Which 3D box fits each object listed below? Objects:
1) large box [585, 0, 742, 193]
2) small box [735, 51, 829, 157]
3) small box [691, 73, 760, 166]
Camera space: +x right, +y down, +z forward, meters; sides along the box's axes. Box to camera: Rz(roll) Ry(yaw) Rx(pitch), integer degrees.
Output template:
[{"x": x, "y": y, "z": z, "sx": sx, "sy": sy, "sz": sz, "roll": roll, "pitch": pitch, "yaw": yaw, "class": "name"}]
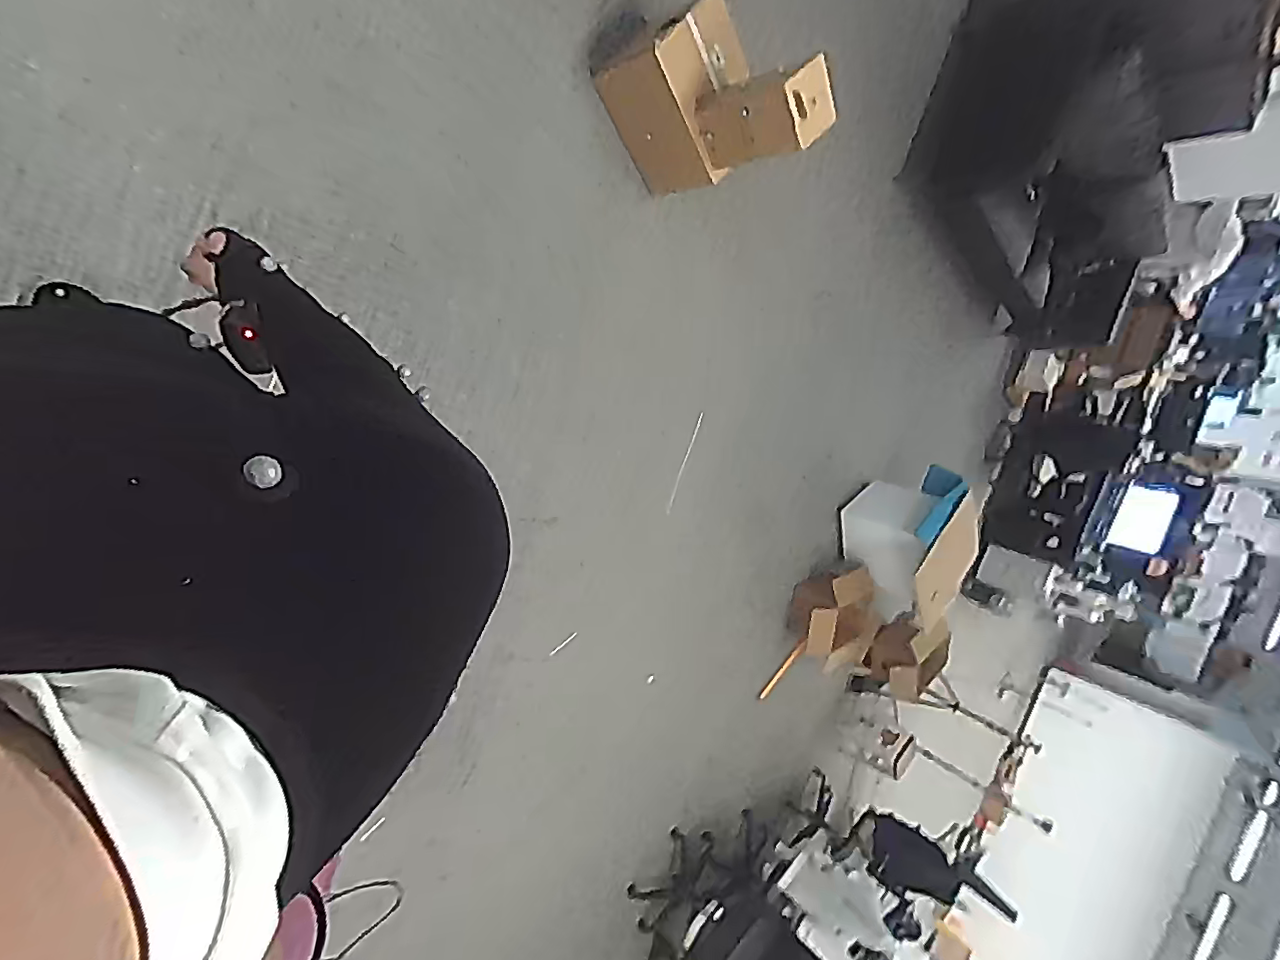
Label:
[{"x": 0.106, "y": -1.205, "z": 1.719, "sx": 0.320, "sy": 0.320, "sz": 0.408, "roll": -54, "pitch": 131, "yaw": -14, "class": "large box"}, {"x": 0.379, "y": -1.010, "z": 1.467, "sx": 0.179, "sy": 0.176, "sz": 0.168, "roll": -47, "pitch": 130, "yaw": -17, "class": "small box"}, {"x": 0.282, "y": -1.057, "z": 1.590, "sx": 0.179, "sy": 0.176, "sz": 0.168, "roll": -47, "pitch": 130, "yaw": -16, "class": "small box"}]
